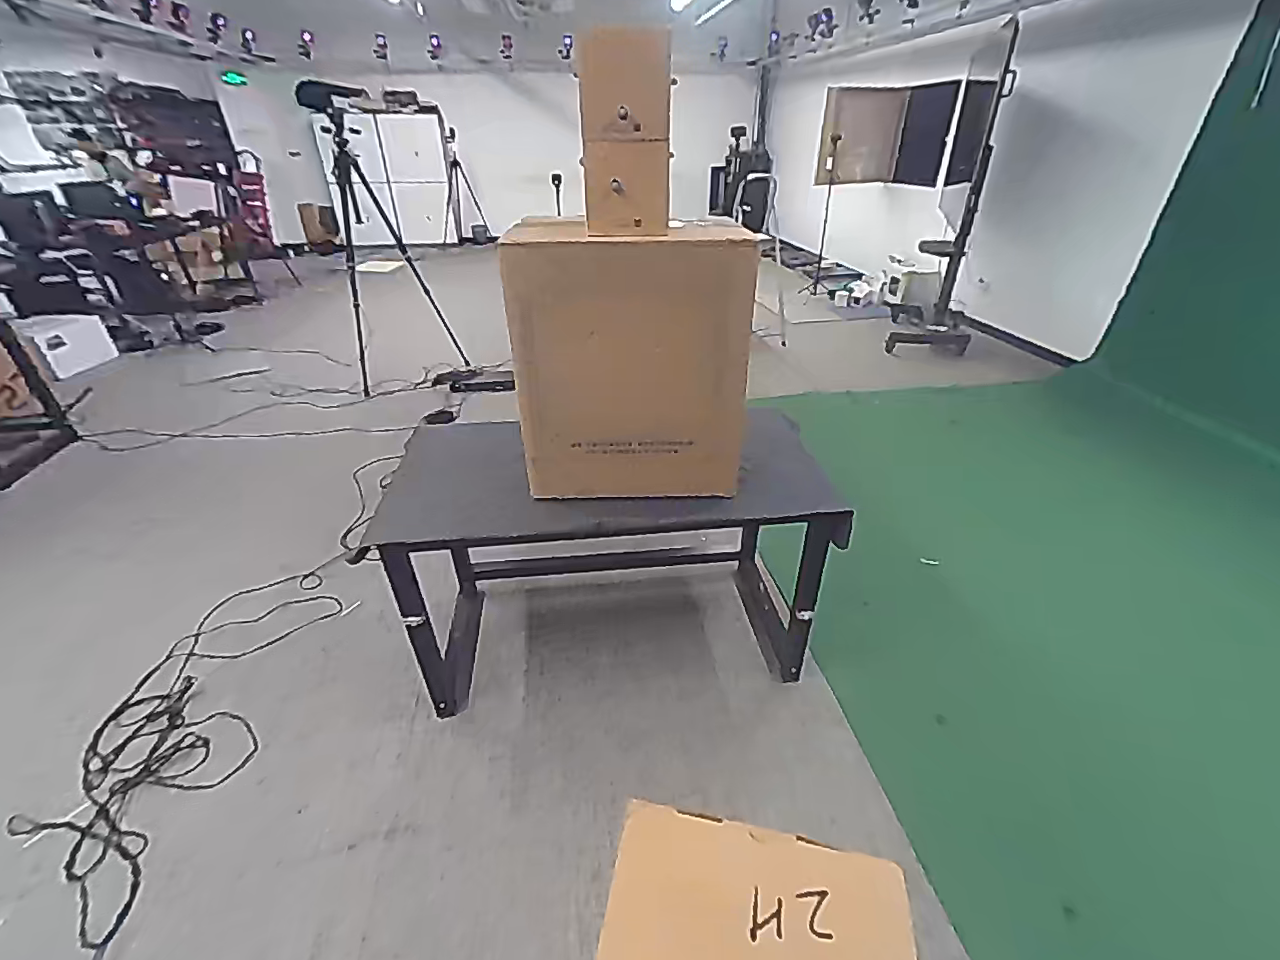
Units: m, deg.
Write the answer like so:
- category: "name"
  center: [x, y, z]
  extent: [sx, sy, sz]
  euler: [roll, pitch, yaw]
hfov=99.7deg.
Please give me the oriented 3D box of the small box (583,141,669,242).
- category: "small box"
  center: [-0.023, -0.597, 1.120]
  extent: [0.168, 0.176, 0.179]
  euler: [0, 34, 0]

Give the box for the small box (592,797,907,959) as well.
- category: "small box"
  center: [0.051, 0.330, 0.317]
  extent: [0.168, 0.176, 0.179]
  euler: [10, 38, 9]
